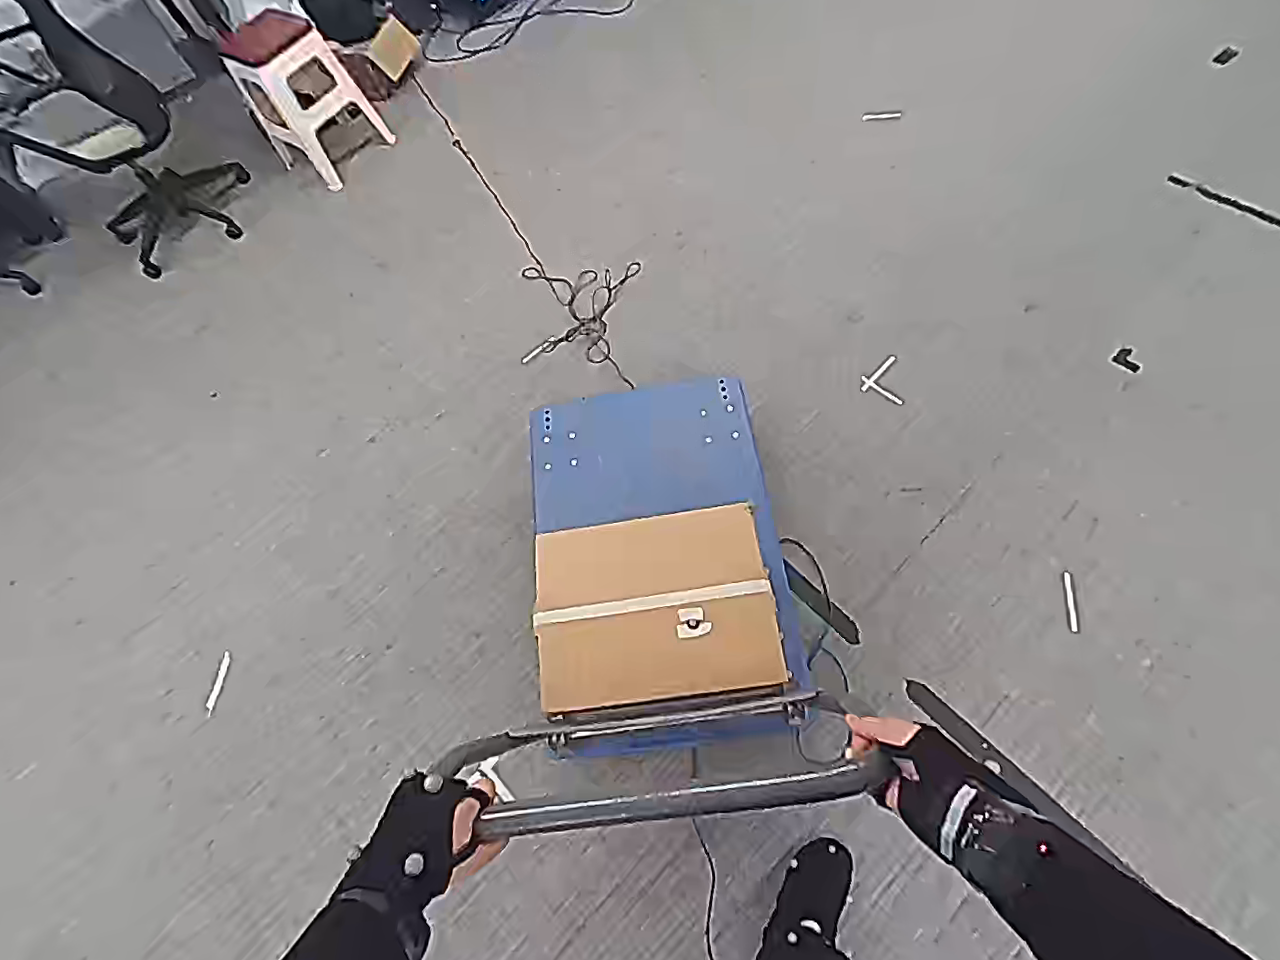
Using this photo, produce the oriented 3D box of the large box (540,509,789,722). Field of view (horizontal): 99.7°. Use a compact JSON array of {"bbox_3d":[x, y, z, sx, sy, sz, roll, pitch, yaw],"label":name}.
[{"bbox_3d":[0.043,0.284,1.072,0.408,0.320,0.320,-9,65,3],"label":"large box"}]
